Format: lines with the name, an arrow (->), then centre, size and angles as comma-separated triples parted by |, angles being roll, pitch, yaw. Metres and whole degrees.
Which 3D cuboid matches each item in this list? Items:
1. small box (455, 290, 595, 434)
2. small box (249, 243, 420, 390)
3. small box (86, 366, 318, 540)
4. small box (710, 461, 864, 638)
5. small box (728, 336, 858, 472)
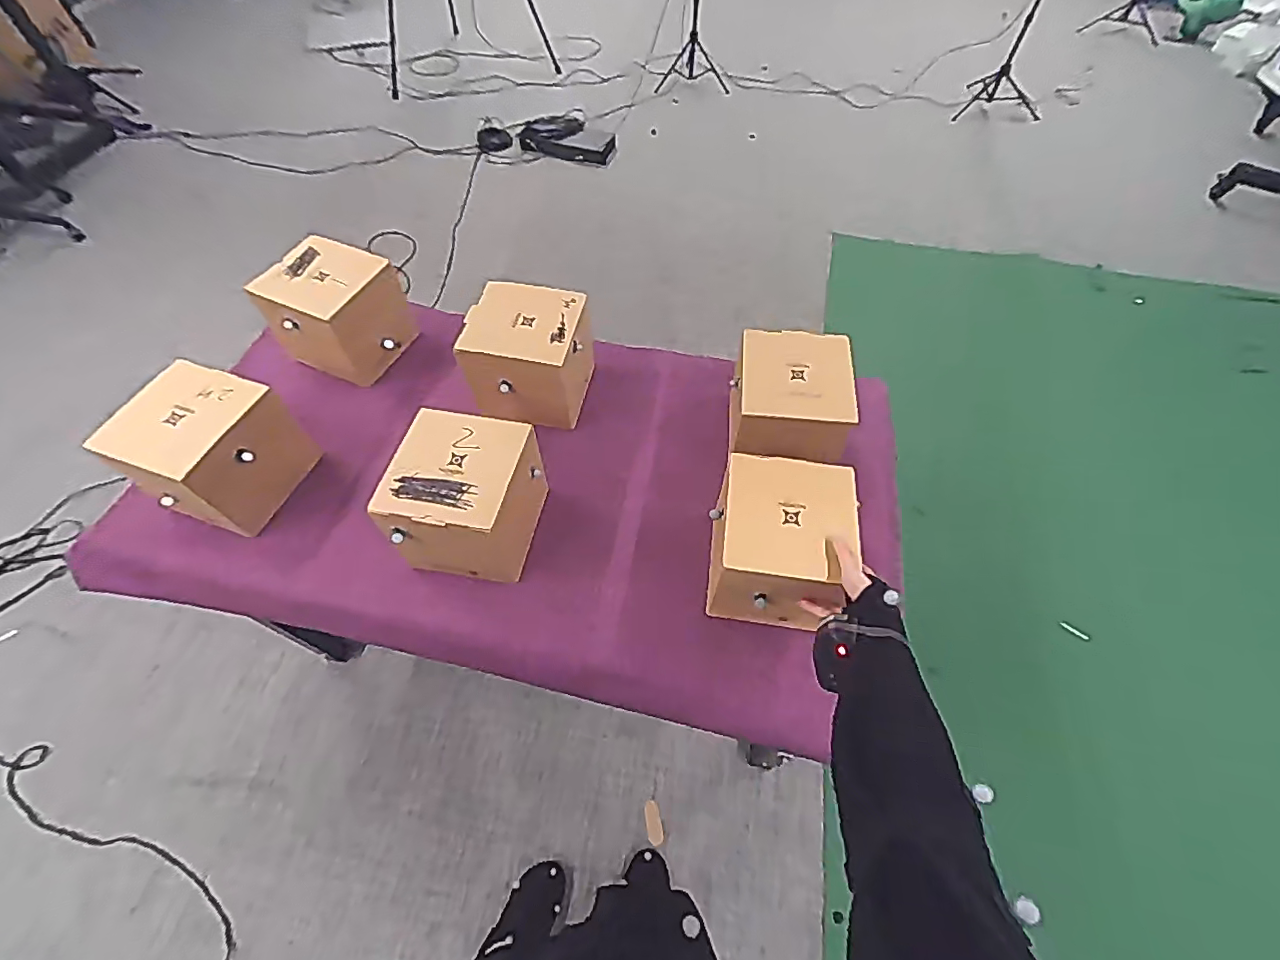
small box -> -0.183, -0.197, 0.927 | 0.179, 0.176, 0.168 | 9, 59, 6
small box -> -0.538, -0.290, 0.980 | 0.179, 0.176, 0.168 | 21, 60, 11
small box -> -0.632, -0.035, 0.811 | 0.168, 0.176, 0.179 | 17, 58, 9
small box -> 0.190, 0.099, 0.739 | 0.168, 0.176, 0.179 | 7, 55, 4
small box -> 0.237, -0.105, 0.873 | 0.168, 0.176, 0.179 | 5, 58, 5
